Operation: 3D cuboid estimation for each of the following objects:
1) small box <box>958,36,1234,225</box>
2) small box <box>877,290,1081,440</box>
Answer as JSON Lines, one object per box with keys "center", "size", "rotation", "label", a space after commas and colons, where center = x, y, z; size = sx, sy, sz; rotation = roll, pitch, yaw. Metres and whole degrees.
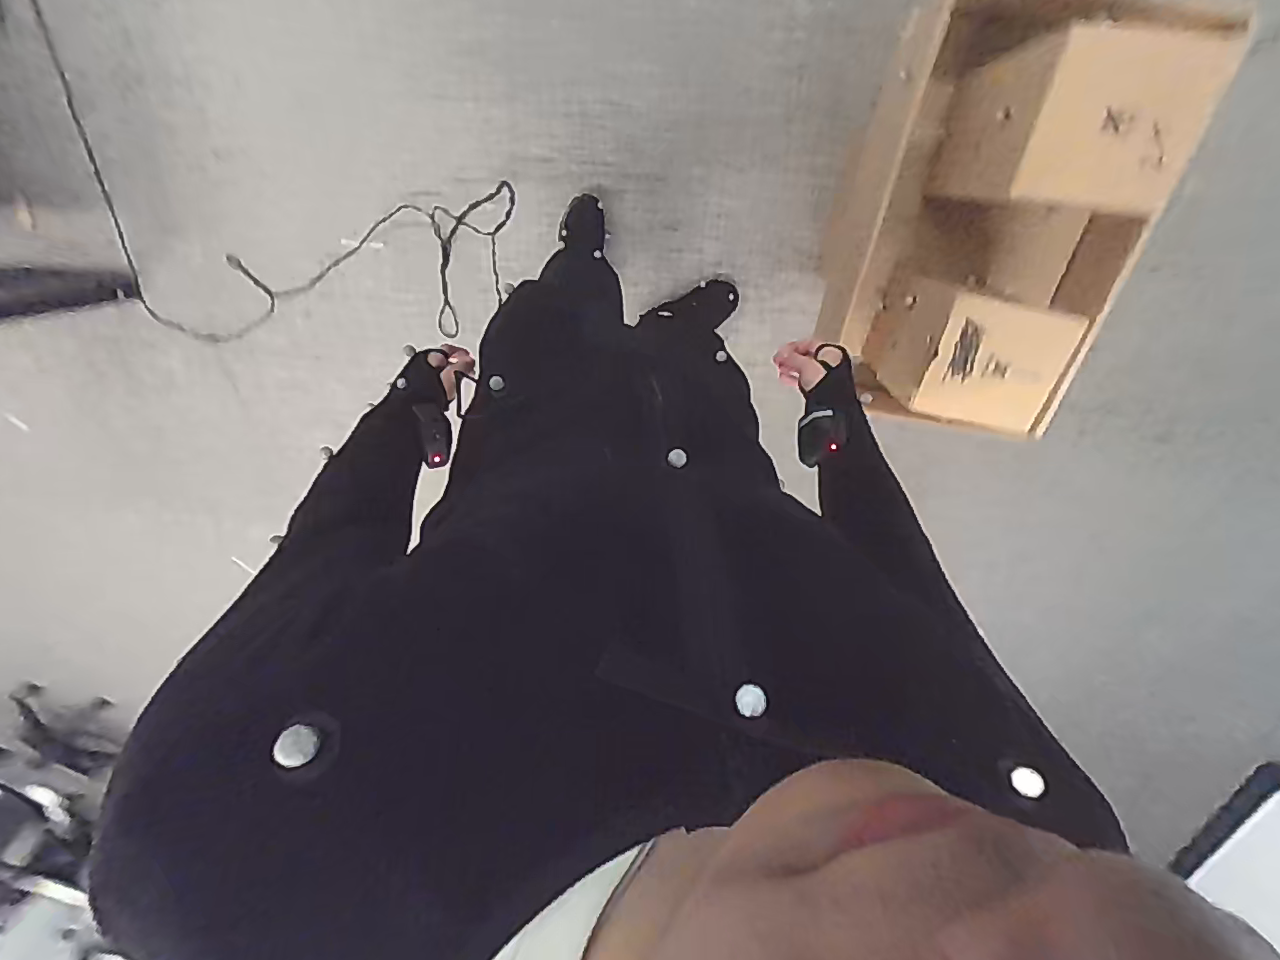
{"center": [0.541, -0.425, 0.680], "size": [0.179, 0.176, 0.168], "rotation": [10, 119, 3], "label": "small box"}
{"center": [0.488, -0.181, 0.816], "size": [0.179, 0.176, 0.168], "rotation": [13, 118, 0], "label": "small box"}
